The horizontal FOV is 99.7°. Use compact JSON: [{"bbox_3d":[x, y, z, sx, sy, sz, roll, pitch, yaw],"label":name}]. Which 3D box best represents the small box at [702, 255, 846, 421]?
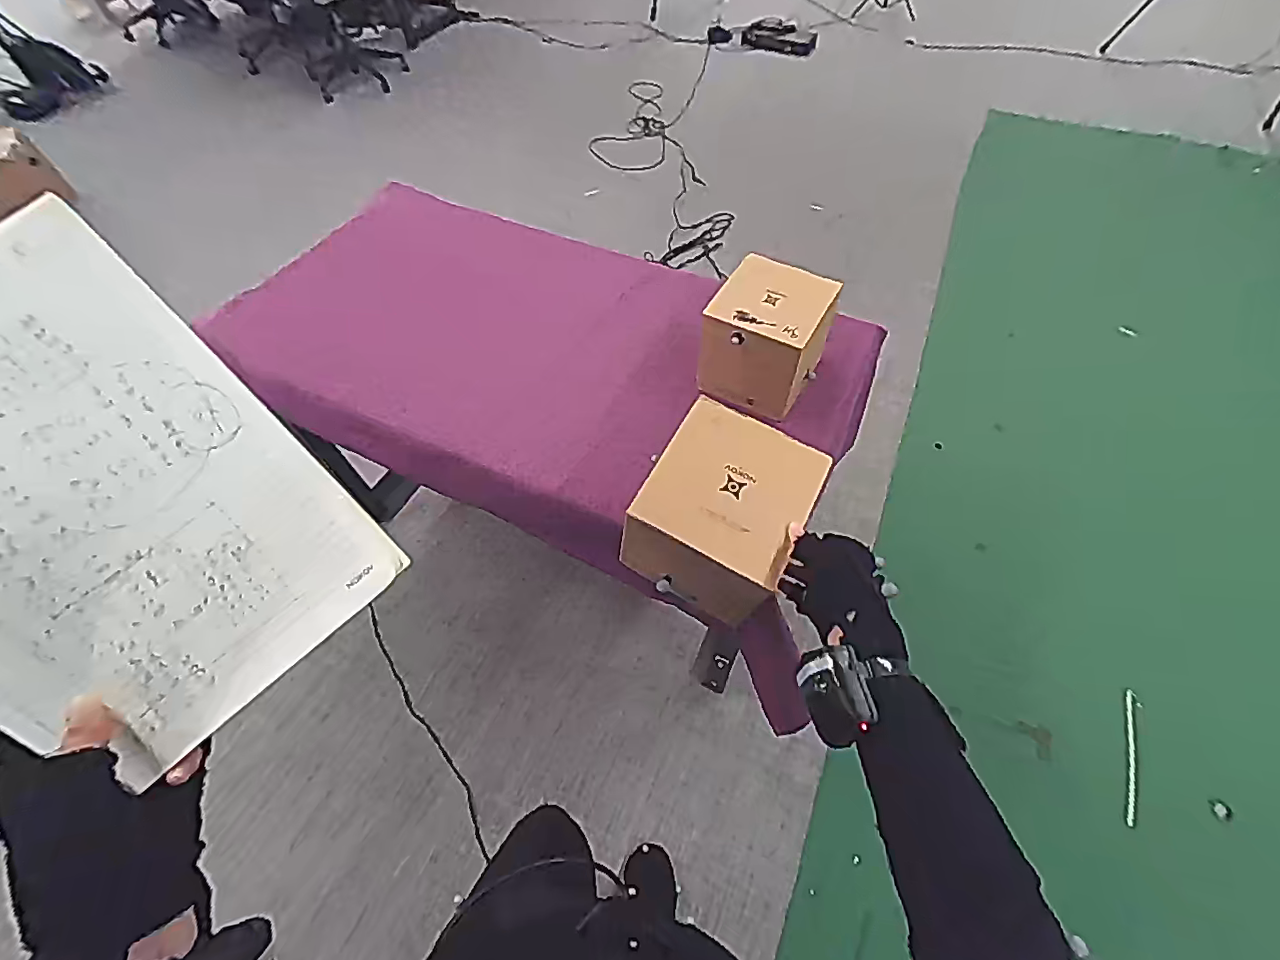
[{"bbox_3d":[0.213,-0.234,0.901,0.168,0.176,0.179,27,60,18],"label":"small box"}]

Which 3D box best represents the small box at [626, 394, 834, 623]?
[{"bbox_3d":[0.093,0.040,0.634,0.168,0.176,0.179,29,65,9],"label":"small box"}]
